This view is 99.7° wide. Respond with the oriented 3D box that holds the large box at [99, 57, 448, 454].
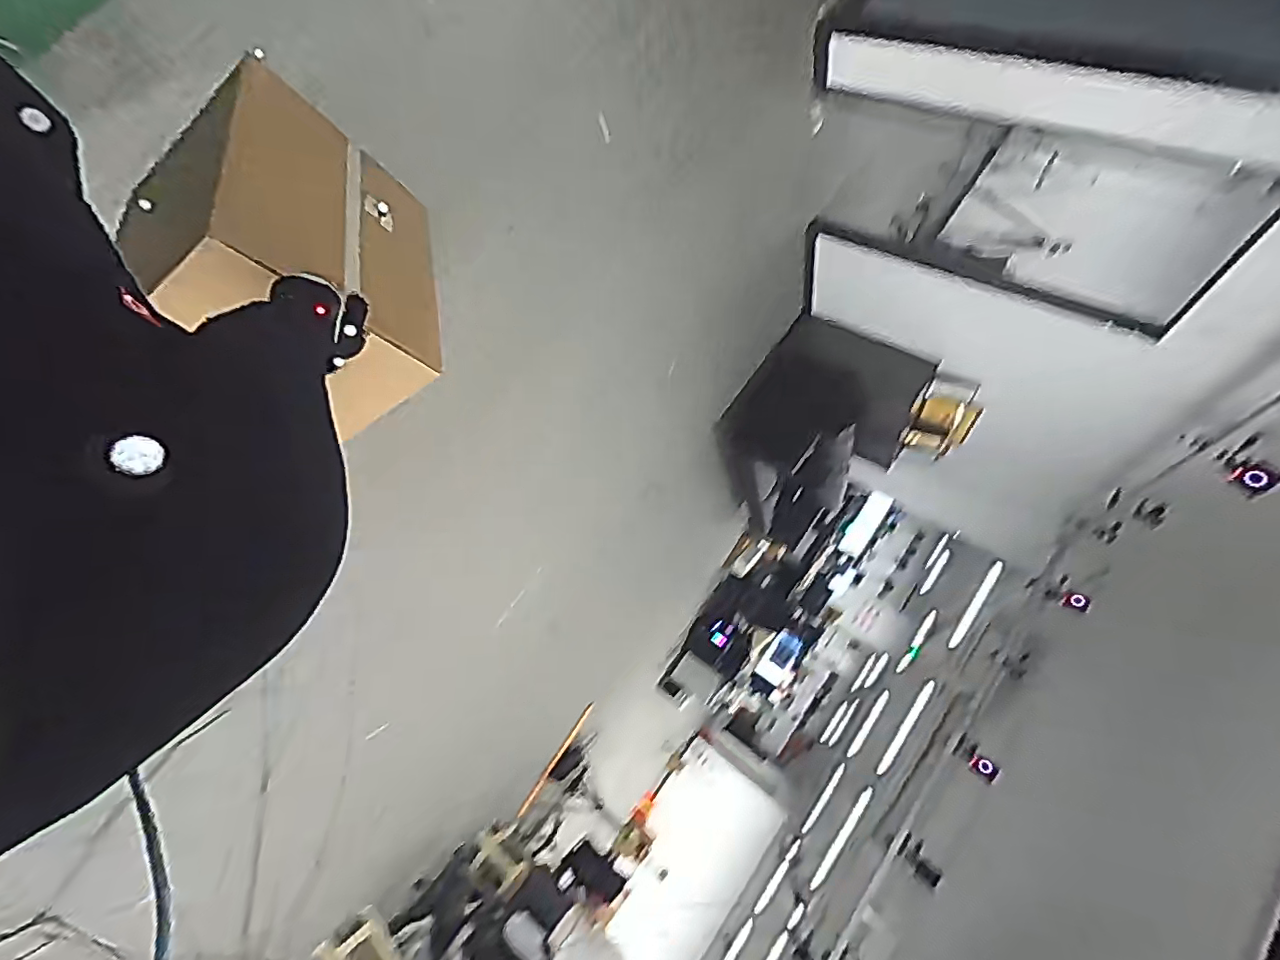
[{"bbox_3d":[-0.542,-0.312,0.837,0.320,0.408,0.320,-28,151,20],"label":"large box"}]
